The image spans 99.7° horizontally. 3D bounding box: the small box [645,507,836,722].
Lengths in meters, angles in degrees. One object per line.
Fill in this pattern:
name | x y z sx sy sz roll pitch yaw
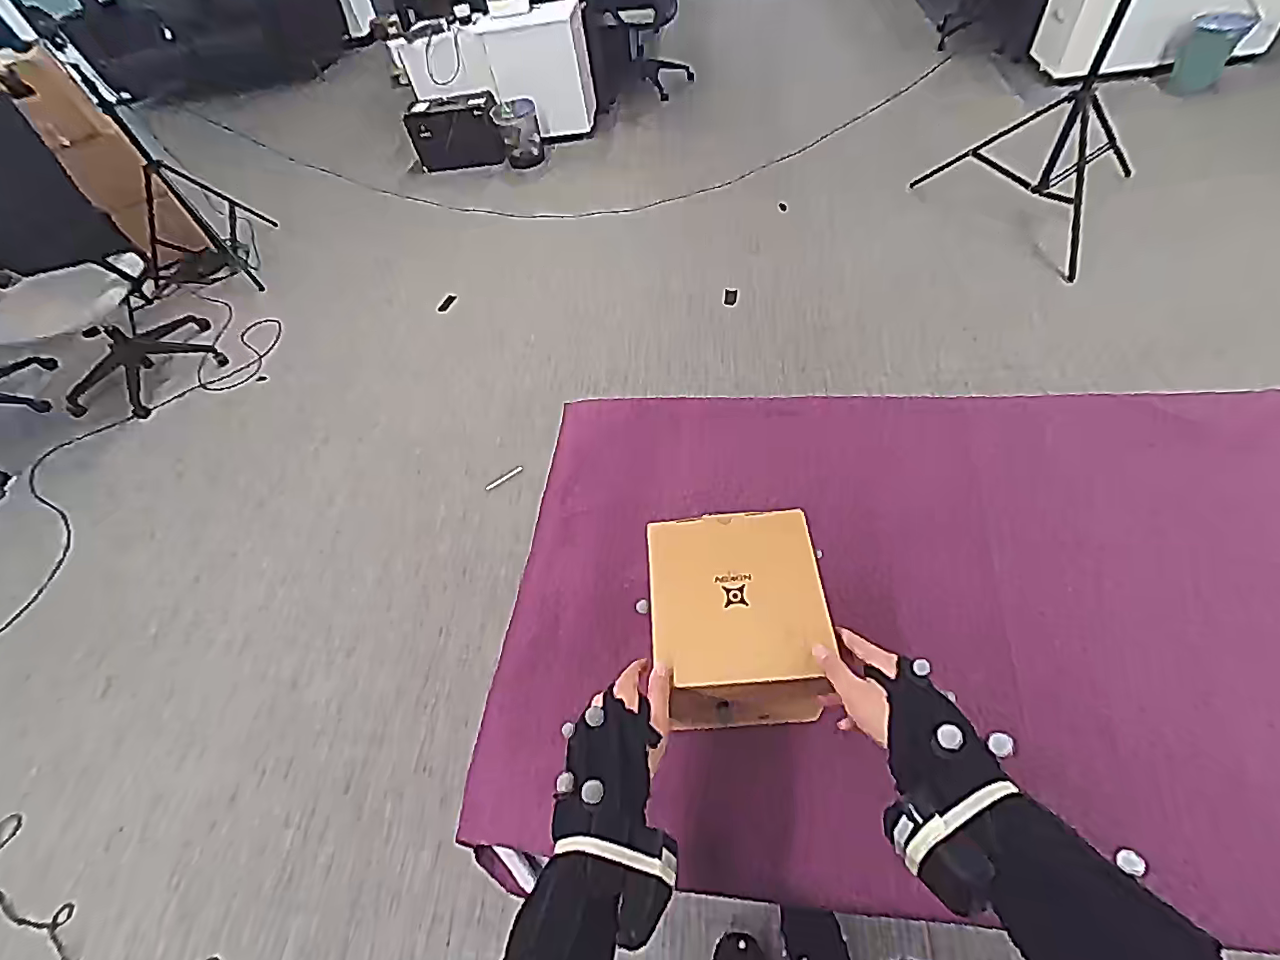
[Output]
small box | 0.099 0.153 0.585 0.168 0.176 0.179 -6 52 5
